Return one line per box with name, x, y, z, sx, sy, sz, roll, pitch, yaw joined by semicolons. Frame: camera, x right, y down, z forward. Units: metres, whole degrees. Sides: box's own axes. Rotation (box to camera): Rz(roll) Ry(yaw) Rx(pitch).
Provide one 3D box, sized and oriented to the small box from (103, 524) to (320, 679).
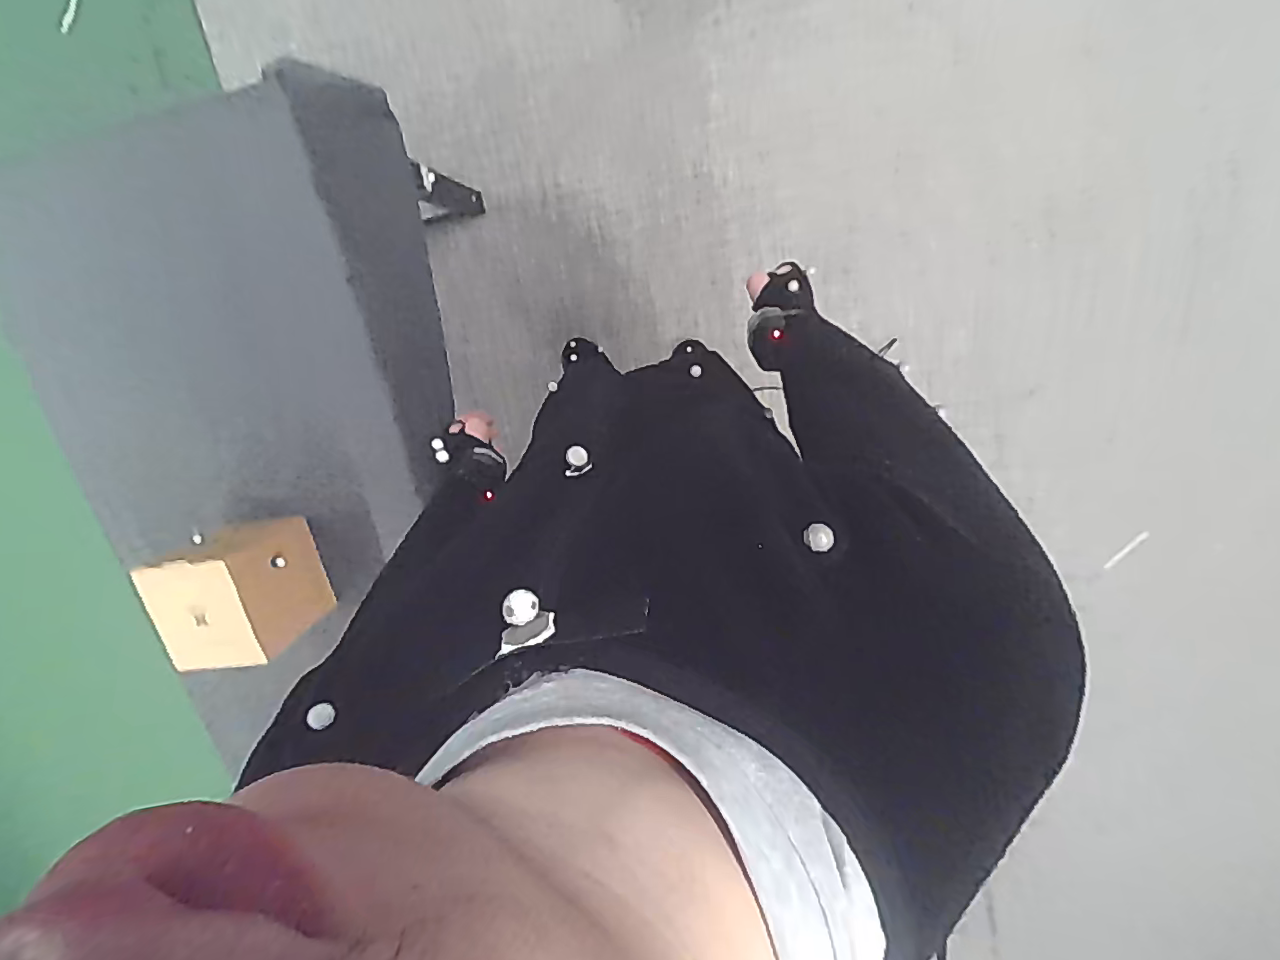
small box;-0.644;0.178;0.837;0.168;0.176;0.179;-7;109;8
